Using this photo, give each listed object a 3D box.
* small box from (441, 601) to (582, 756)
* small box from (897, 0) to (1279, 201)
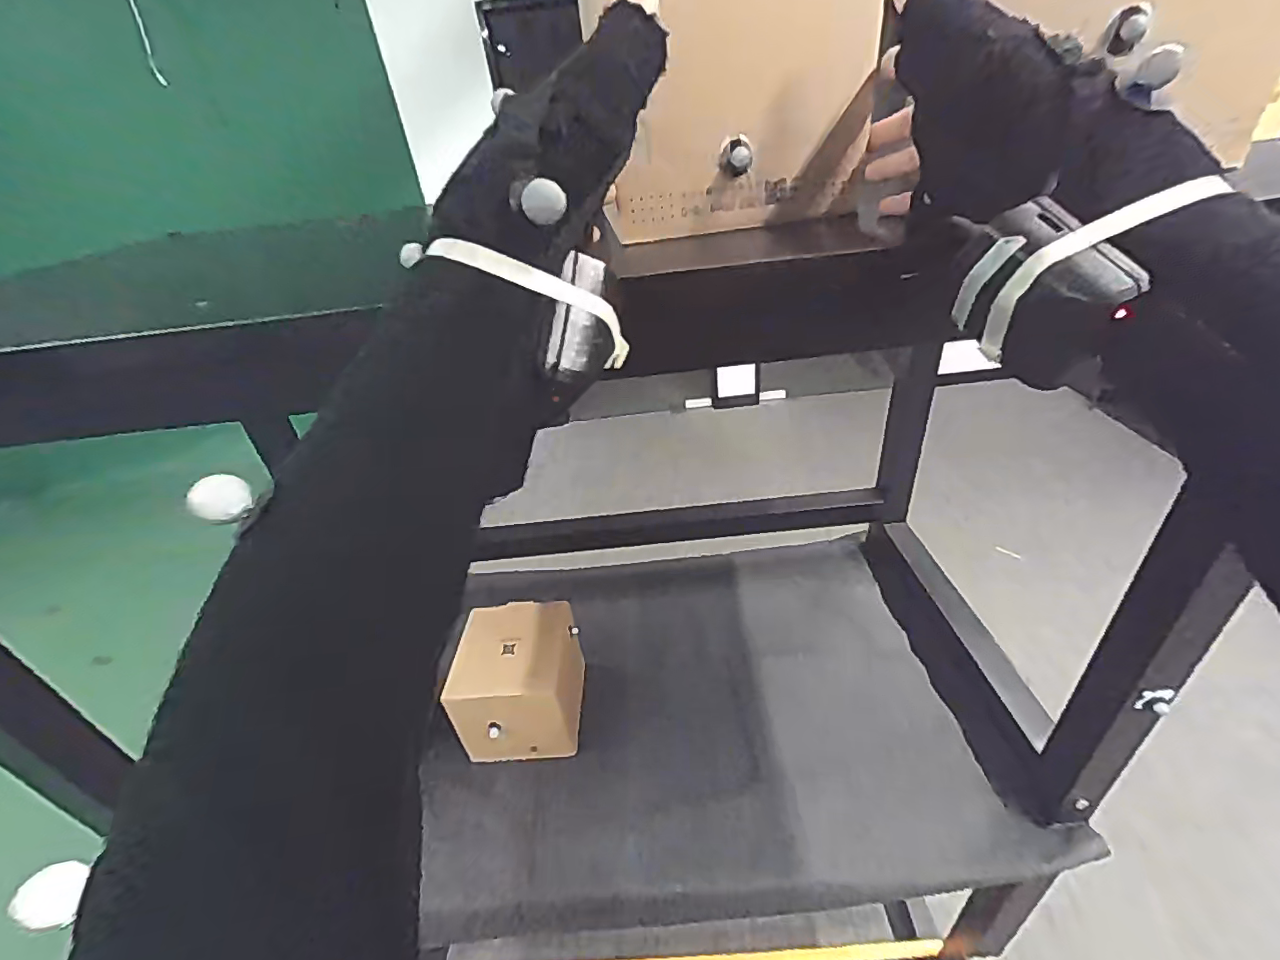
[{"bbox_3d":[-0.192,0.322,0.869,0.168,0.176,0.179,-5,33,3],"label":"small box"},{"bbox_3d":[0.295,-0.302,0.381,0.168,0.176,0.179,0,34,11],"label":"small box"}]
